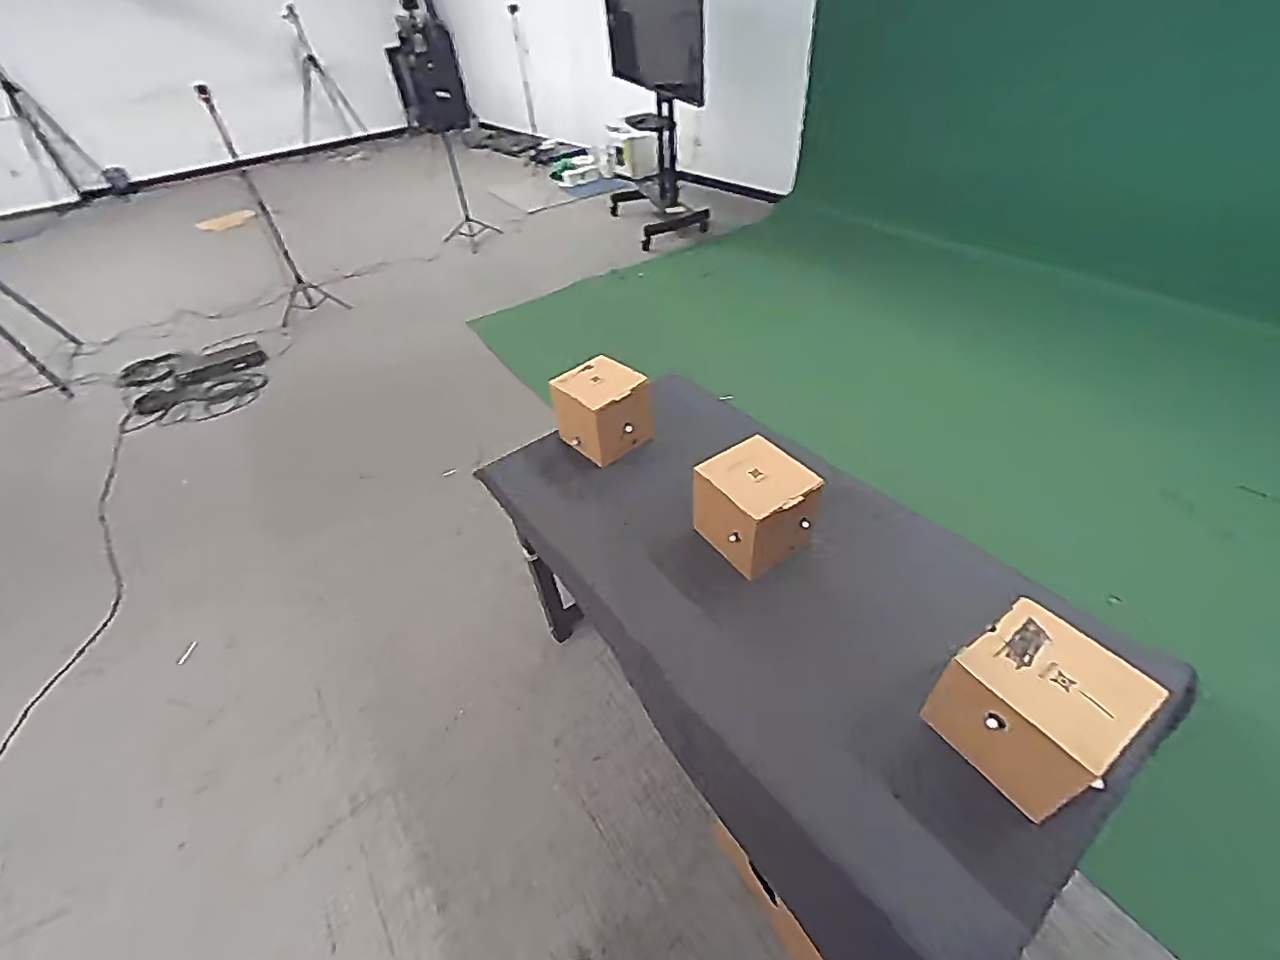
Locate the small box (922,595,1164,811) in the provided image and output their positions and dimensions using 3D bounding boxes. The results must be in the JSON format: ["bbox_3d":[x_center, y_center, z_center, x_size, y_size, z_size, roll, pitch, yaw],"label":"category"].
[{"bbox_3d":[0.517,0.296,0.724,0.168,0.176,0.179,-27,47,-21],"label":"small box"}]

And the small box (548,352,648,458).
[{"bbox_3d":[-0.093,-0.176,1.301,0.168,0.176,0.179,-34,51,-27],"label":"small box"}]

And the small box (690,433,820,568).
[{"bbox_3d":[0.214,0.044,1.034,0.168,0.176,0.179,-26,45,-23],"label":"small box"}]
